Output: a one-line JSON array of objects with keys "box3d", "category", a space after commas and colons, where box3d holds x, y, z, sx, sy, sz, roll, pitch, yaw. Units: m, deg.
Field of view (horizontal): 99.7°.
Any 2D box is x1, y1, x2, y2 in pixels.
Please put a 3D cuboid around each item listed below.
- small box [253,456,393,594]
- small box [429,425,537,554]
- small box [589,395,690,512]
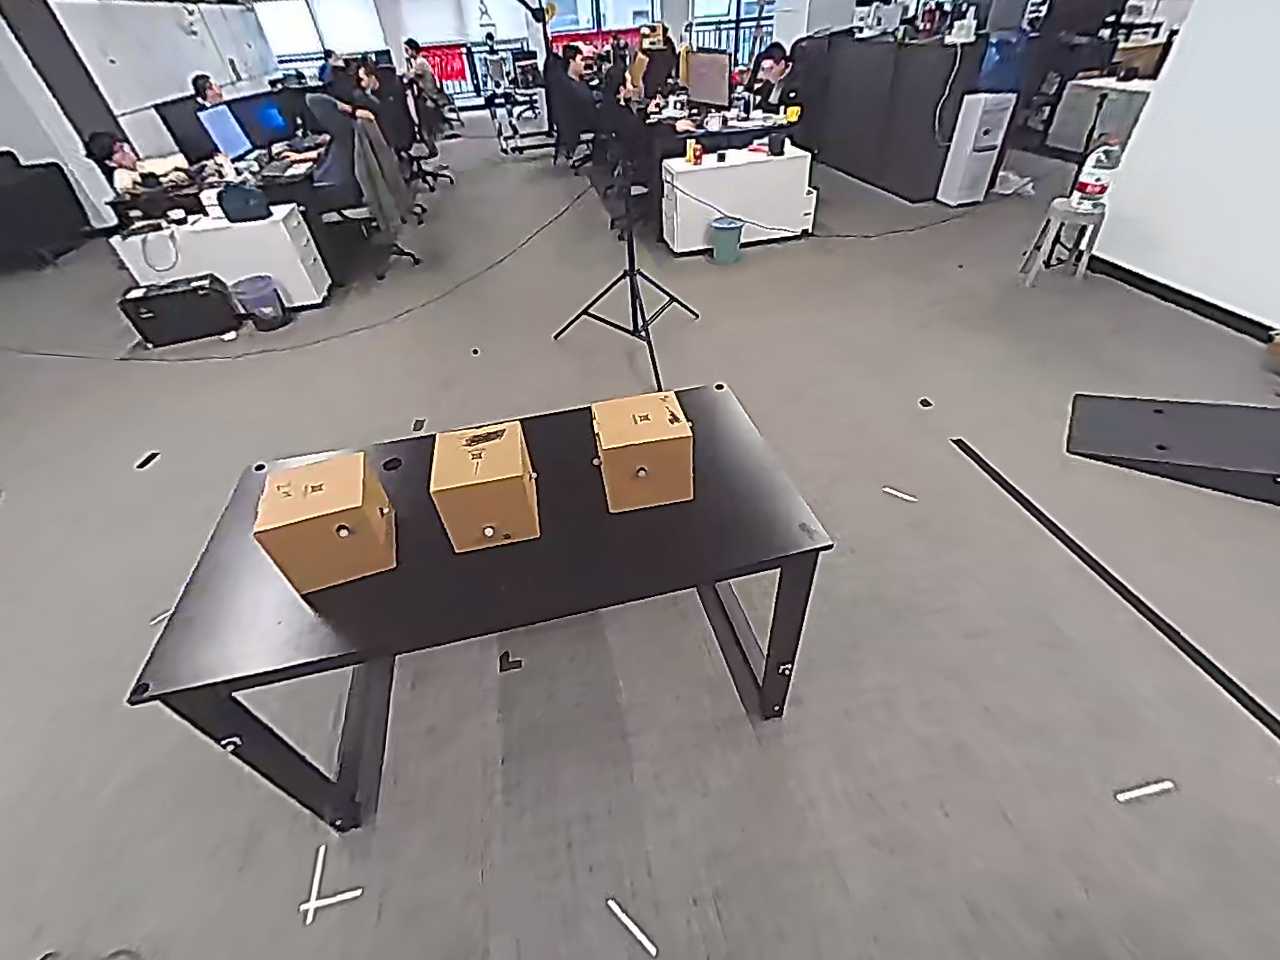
[{"box3d": [-0.580, 0.085, 1.021, 0.179, 0.176, 0.168, -16, 42, -12], "category": "small box"}, {"box3d": [-0.303, 0.018, 1.071, 0.168, 0.176, 0.179, -11, 42, -6], "category": "small box"}, {"box3d": [0.000, -0.052, 1.121, 0.179, 0.176, 0.168, -10, 41, -5], "category": "small box"}]
